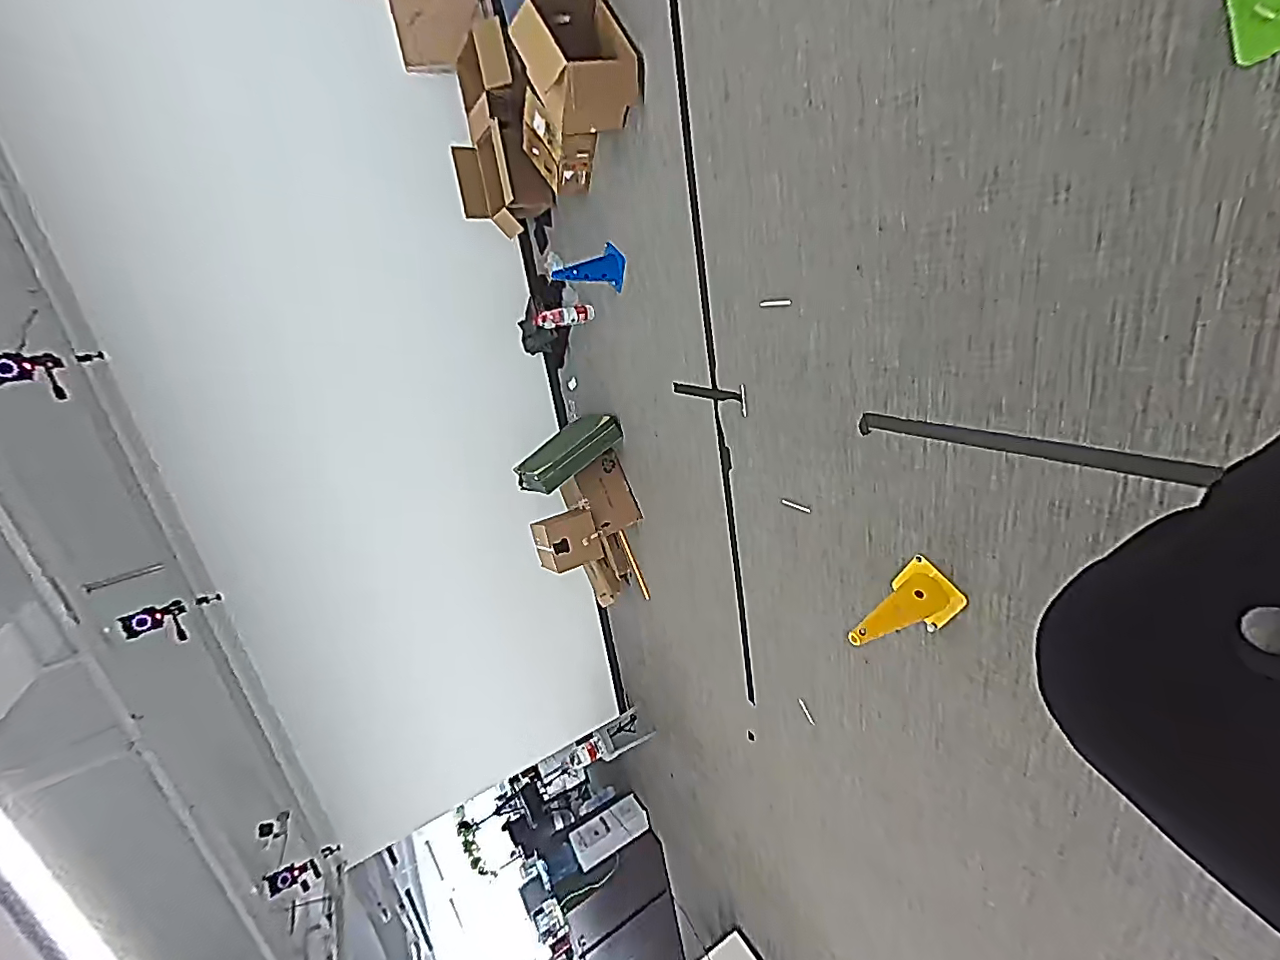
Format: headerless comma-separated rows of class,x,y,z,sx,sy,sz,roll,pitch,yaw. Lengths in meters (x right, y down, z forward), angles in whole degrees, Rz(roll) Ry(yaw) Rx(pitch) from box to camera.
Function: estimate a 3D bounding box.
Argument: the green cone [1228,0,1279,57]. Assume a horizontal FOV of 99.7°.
green cone,0.876,-0.742,0.731,0.202,0.368,0.200,-5,103,63
